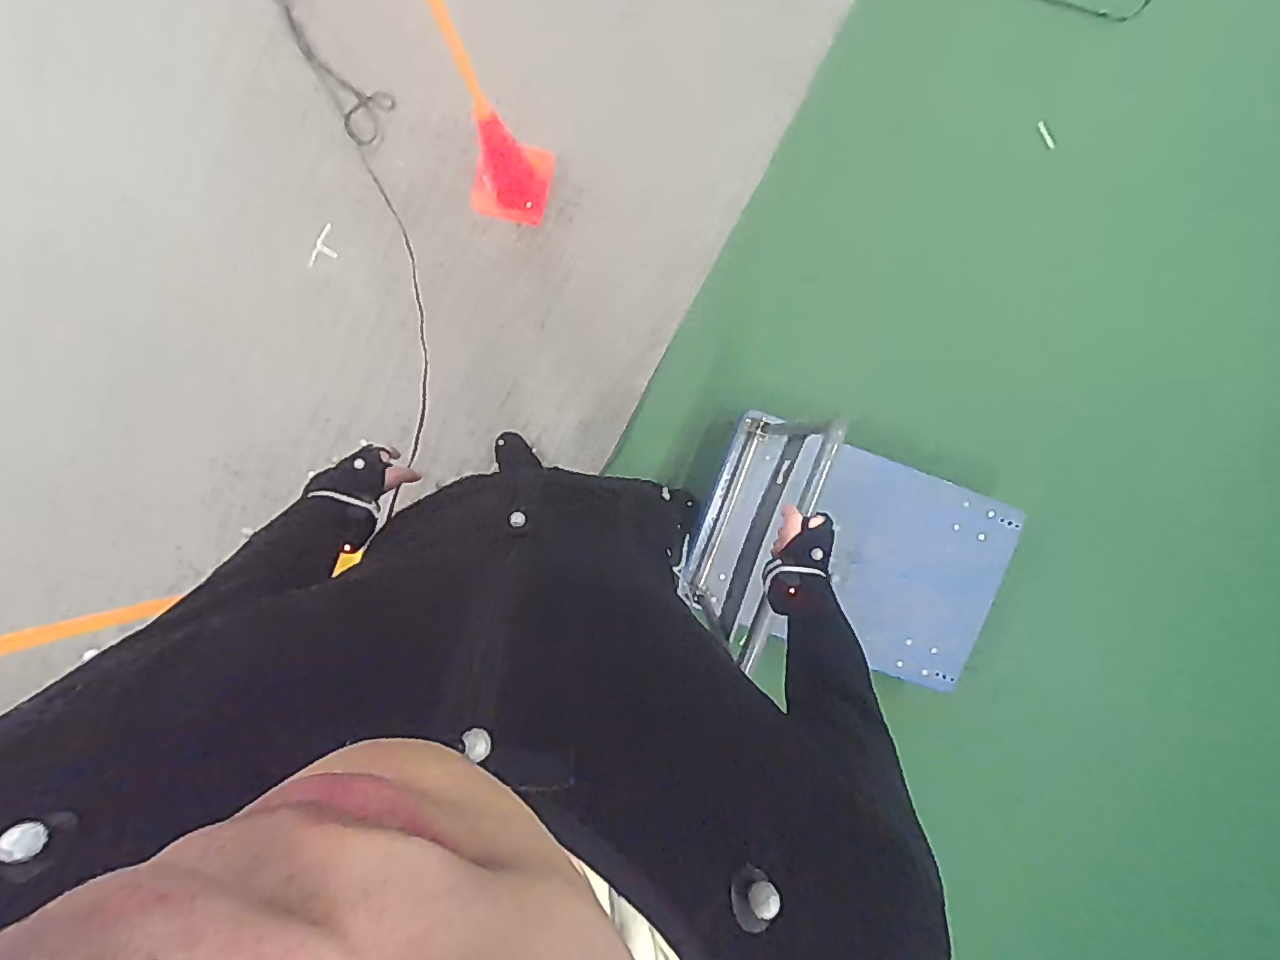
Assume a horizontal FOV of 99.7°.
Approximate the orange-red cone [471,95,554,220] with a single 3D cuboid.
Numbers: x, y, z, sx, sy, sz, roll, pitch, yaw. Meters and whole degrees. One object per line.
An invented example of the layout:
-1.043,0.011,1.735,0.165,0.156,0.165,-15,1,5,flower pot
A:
-0.339,-0.823,1.325,0.198,0.360,0.199,14,94,-6,orange-red cone
